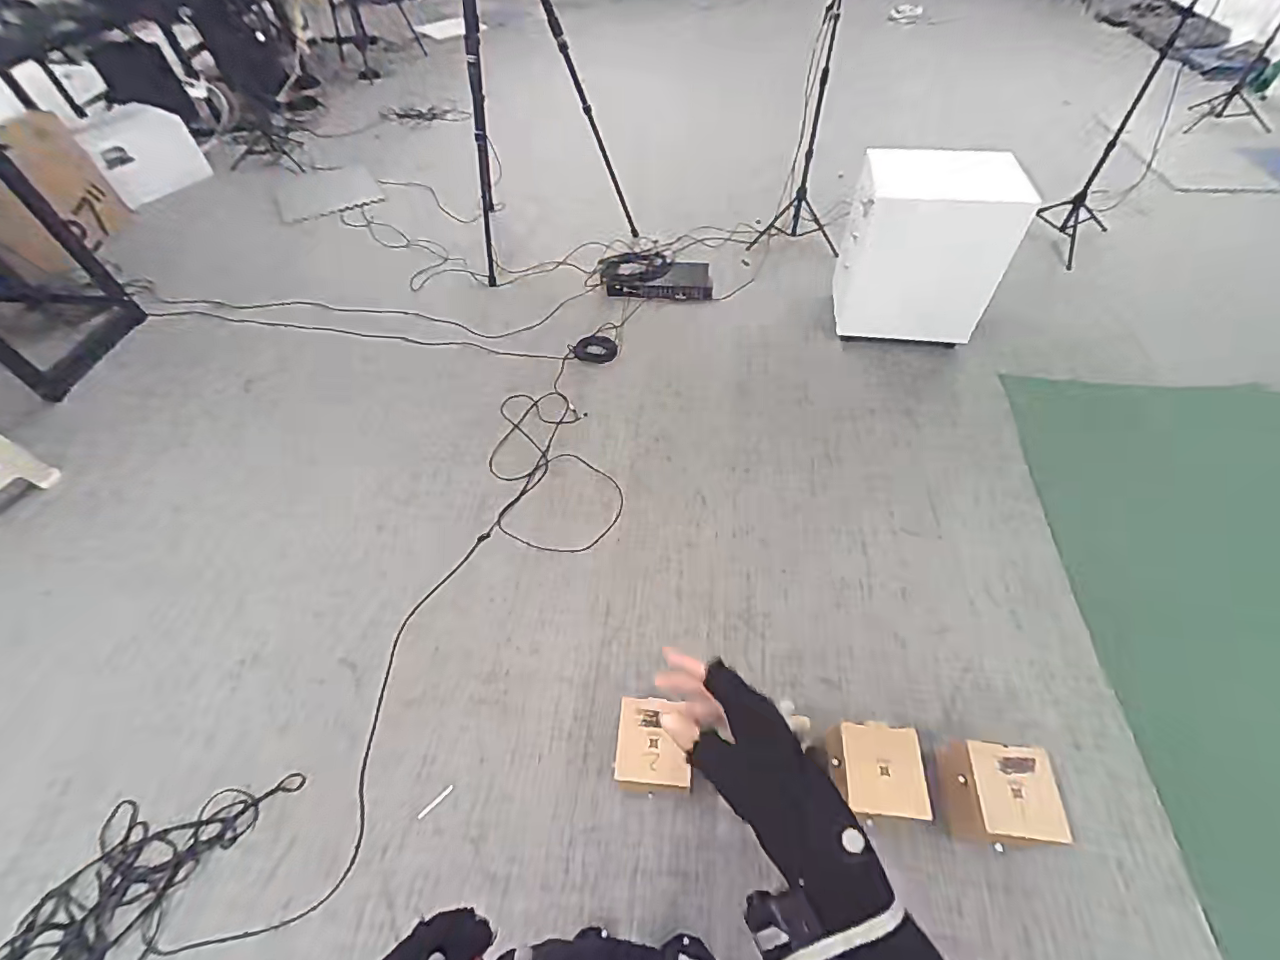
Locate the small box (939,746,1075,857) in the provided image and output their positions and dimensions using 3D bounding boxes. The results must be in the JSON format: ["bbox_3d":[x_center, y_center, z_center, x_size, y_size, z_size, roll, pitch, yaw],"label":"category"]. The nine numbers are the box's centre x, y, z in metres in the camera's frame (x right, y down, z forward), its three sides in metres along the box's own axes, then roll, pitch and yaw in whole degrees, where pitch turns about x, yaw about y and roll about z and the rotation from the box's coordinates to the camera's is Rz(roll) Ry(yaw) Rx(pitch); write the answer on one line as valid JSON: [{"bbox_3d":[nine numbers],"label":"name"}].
[{"bbox_3d":[0.782,0.701,1.178,0.168,0.176,0.179,4,53,5],"label":"small box"}]

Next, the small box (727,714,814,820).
[{"bbox_3d":[0.291,0.655,1.228,0.168,0.176,0.179,6,52,6],"label":"small box"}]

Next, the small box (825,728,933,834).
[{"bbox_3d":[0.521,0.676,1.207,0.168,0.176,0.179,4,51,4],"label":"small box"}]
